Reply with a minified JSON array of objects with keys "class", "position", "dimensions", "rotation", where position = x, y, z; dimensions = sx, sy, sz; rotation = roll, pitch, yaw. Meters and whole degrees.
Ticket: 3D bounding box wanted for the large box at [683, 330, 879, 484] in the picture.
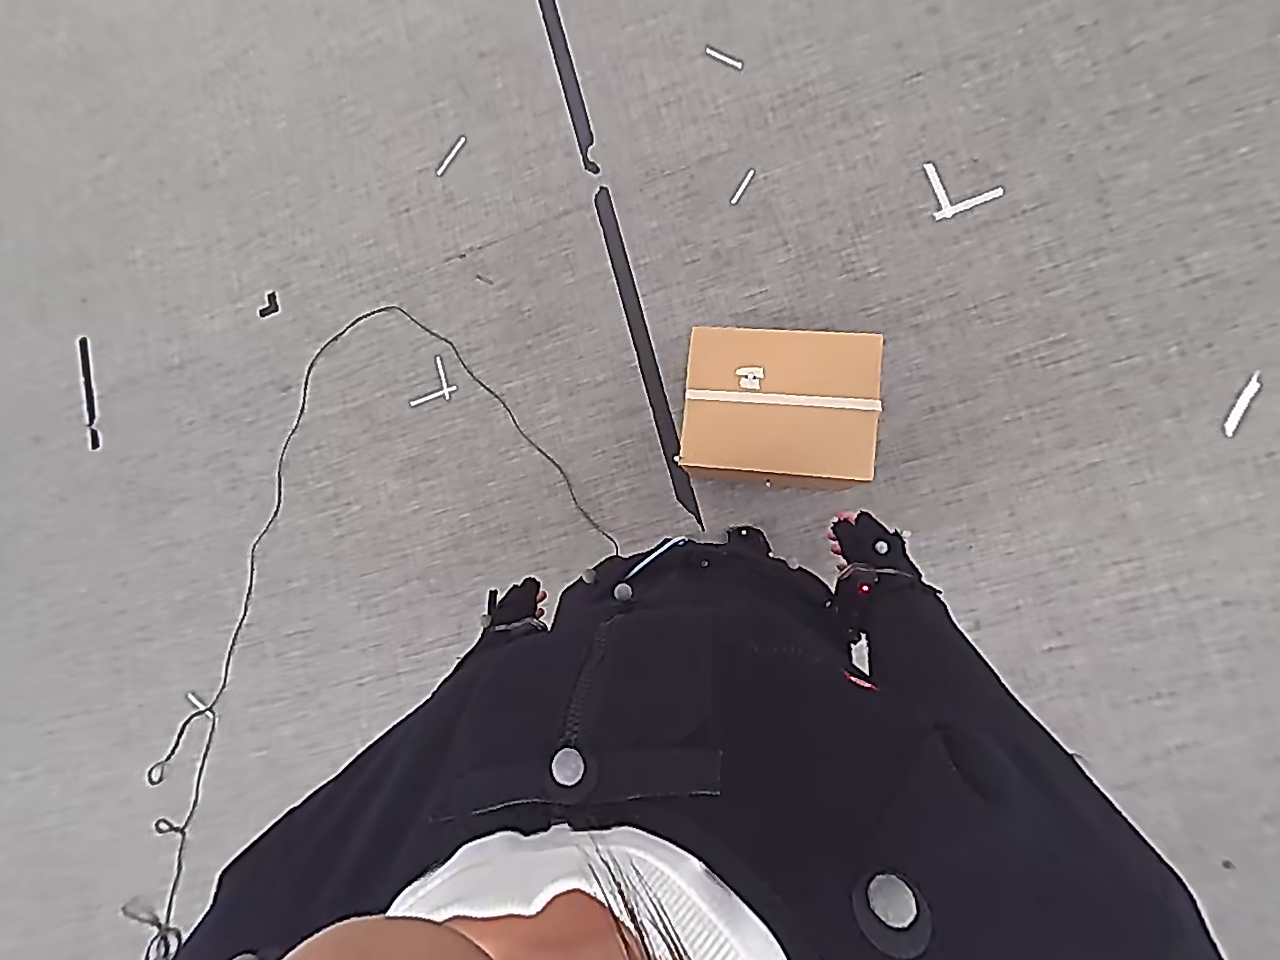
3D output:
[{"class":"large box","position":[0.331,-0.162,1.315],"dimensions":[0.408,0.320,0.320],"rotation":[5,85,11]}]
